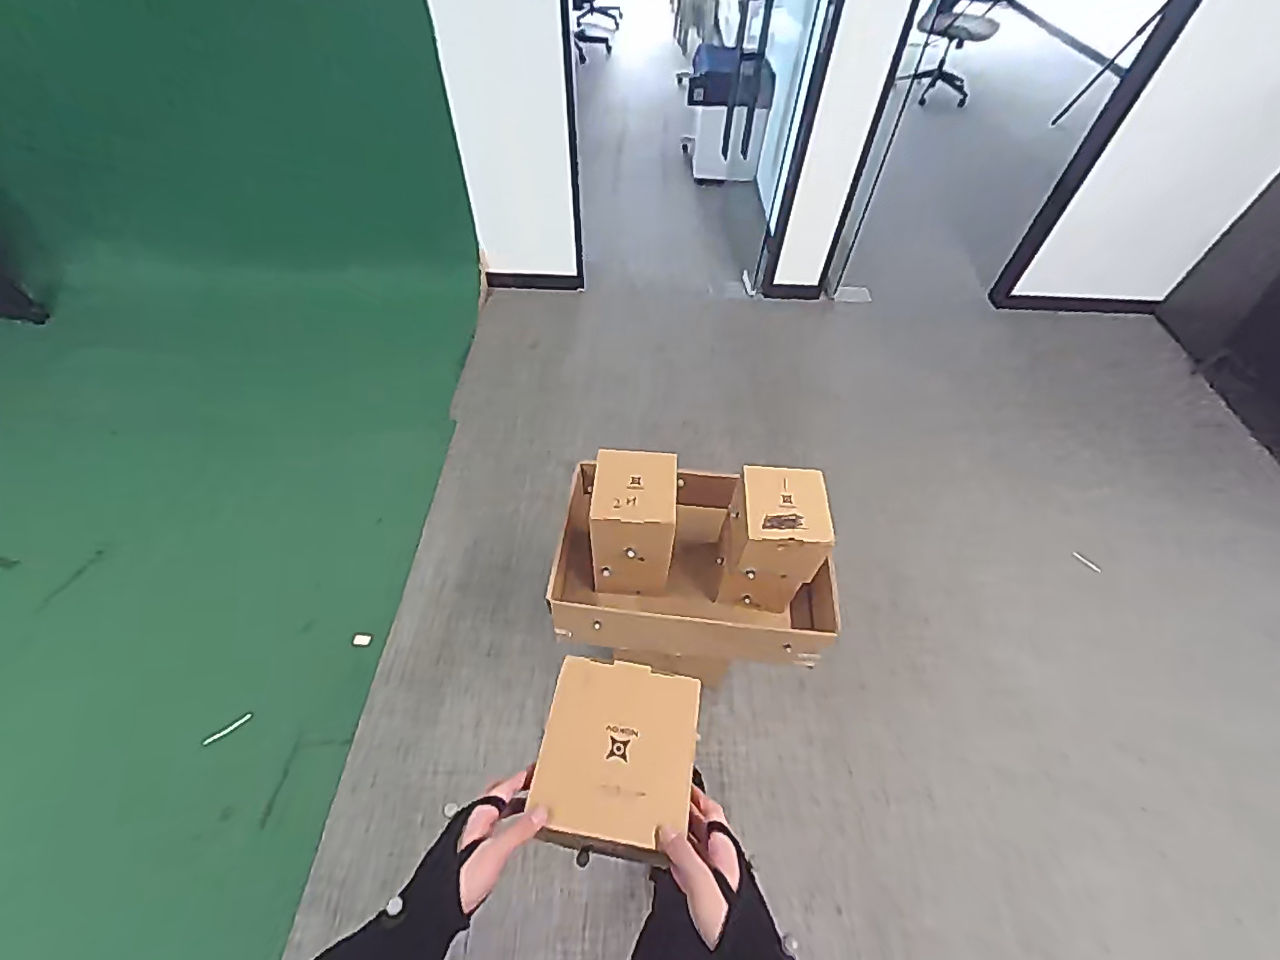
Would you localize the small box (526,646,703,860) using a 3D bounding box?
[{"bbox_3d":[-0.029,0.327,0.644,0.168,0.176,0.179,11,51,2],"label":"small box"}]

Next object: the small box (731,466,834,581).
[{"bbox_3d":[0.284,0.094,1.118,0.168,0.176,0.179,4,53,0],"label":"small box"}]

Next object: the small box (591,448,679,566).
[{"bbox_3d":[-0.010,0.058,1.129,0.168,0.176,0.179,4,52,1],"label":"small box"}]

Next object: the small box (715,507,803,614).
[{"bbox_3d":[0.270,0.187,1.253,0.168,0.176,0.179,8,53,3],"label":"small box"}]
